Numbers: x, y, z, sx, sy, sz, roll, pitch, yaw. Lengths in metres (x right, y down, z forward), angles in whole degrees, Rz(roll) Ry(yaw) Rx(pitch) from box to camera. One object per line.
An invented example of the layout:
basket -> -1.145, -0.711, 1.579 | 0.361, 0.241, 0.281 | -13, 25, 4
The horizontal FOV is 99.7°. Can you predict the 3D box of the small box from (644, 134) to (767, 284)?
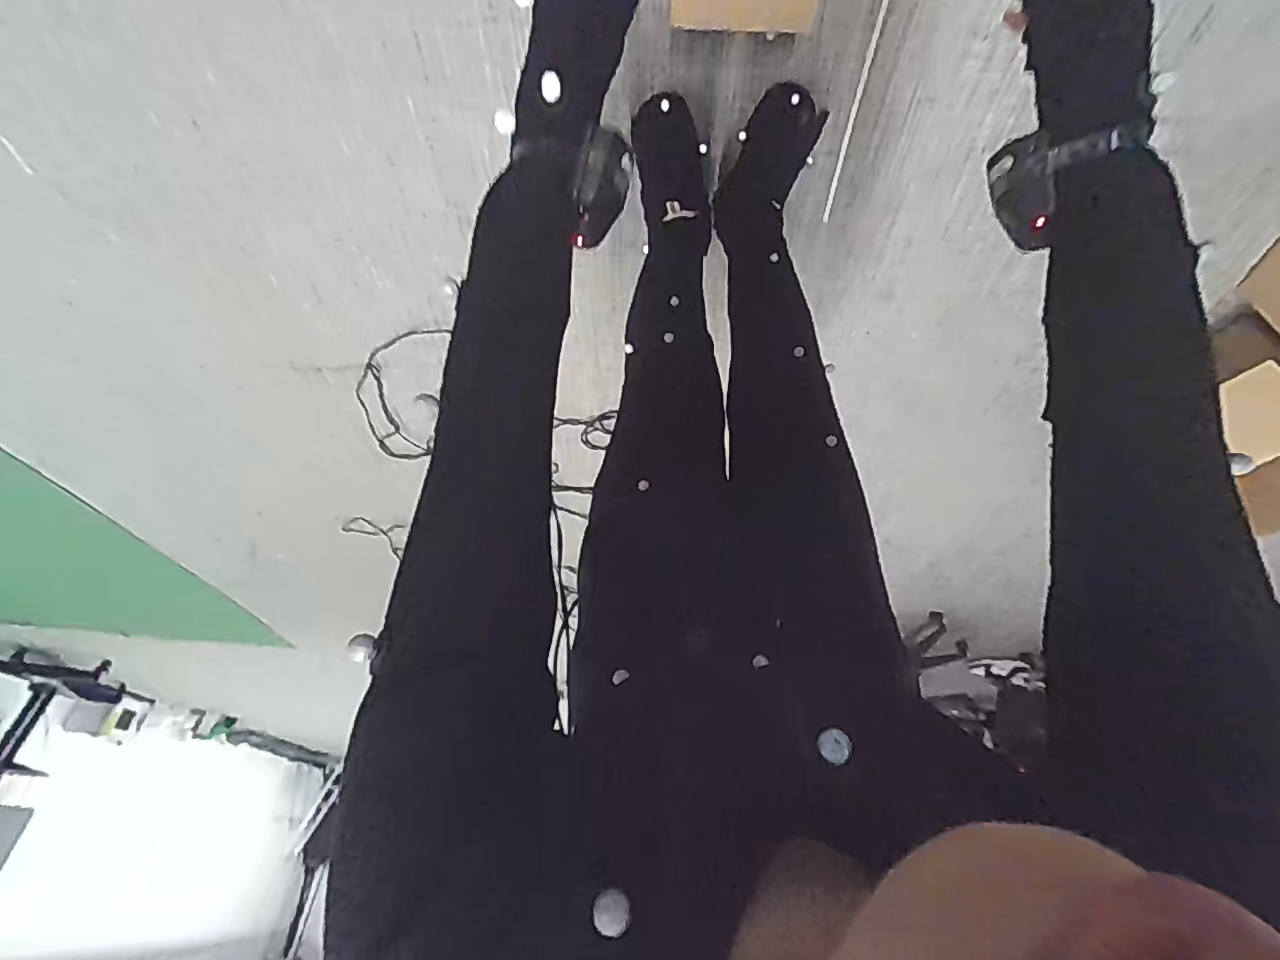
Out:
small box -> 0.104, -0.471, 0.952 | 0.168, 0.176, 0.179 | -4, 147, -9
